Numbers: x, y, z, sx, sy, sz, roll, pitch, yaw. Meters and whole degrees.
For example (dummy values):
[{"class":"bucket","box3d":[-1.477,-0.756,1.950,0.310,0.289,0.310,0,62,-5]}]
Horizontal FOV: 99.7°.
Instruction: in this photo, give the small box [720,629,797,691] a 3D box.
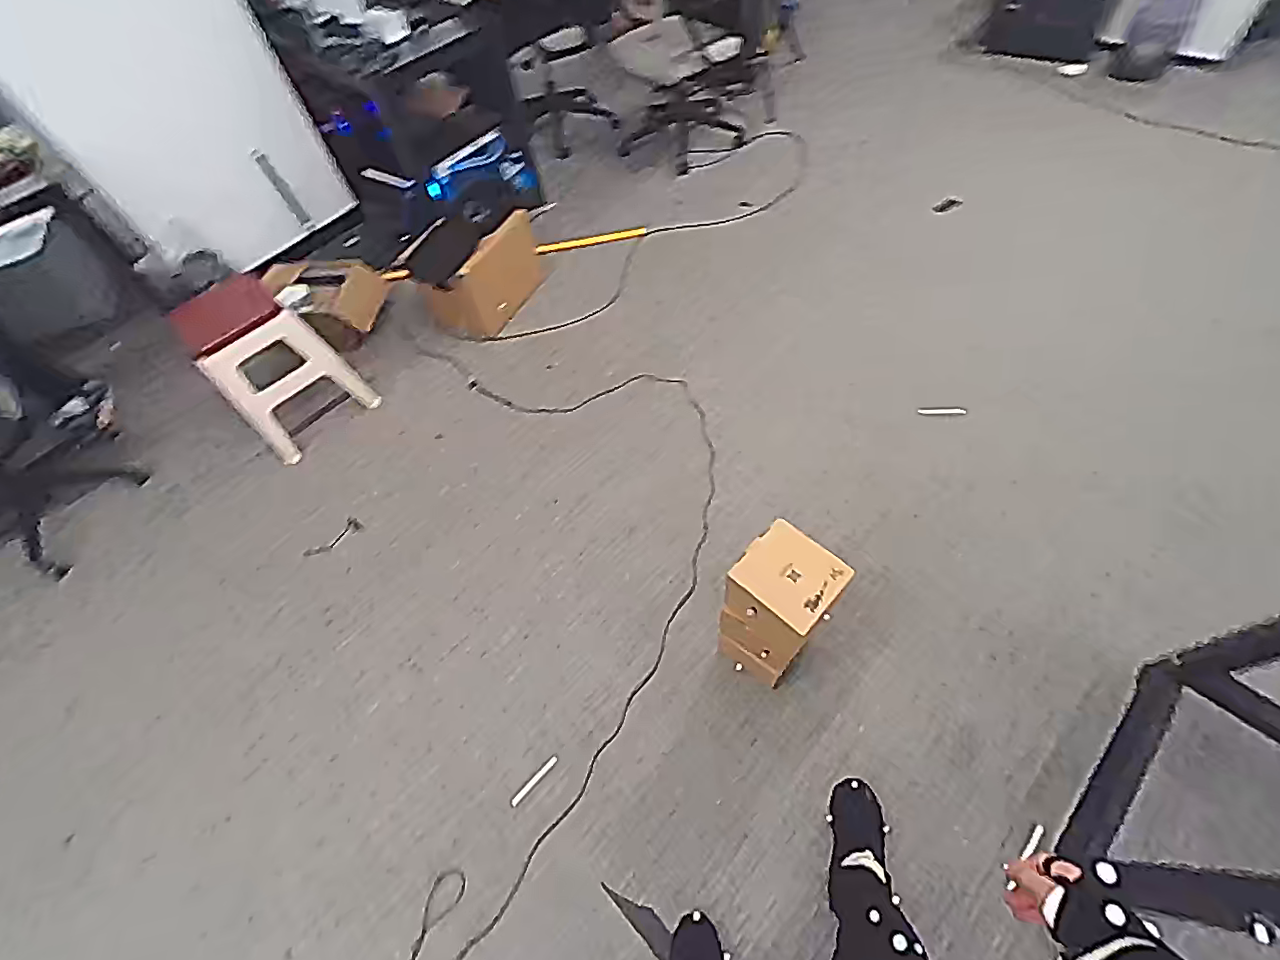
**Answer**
[{"class":"small box","box3d":[0.311,0.395,1.350,0.168,0.176,0.179,33,68,25]}]

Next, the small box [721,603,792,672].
[{"class":"small box","box3d":[0.296,0.302,1.218,0.168,0.176,0.179,30,64,23]}]

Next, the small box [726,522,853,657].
[{"class":"small box","box3d":[0.287,0.223,1.074,0.179,0.176,0.168,37,69,27]}]
